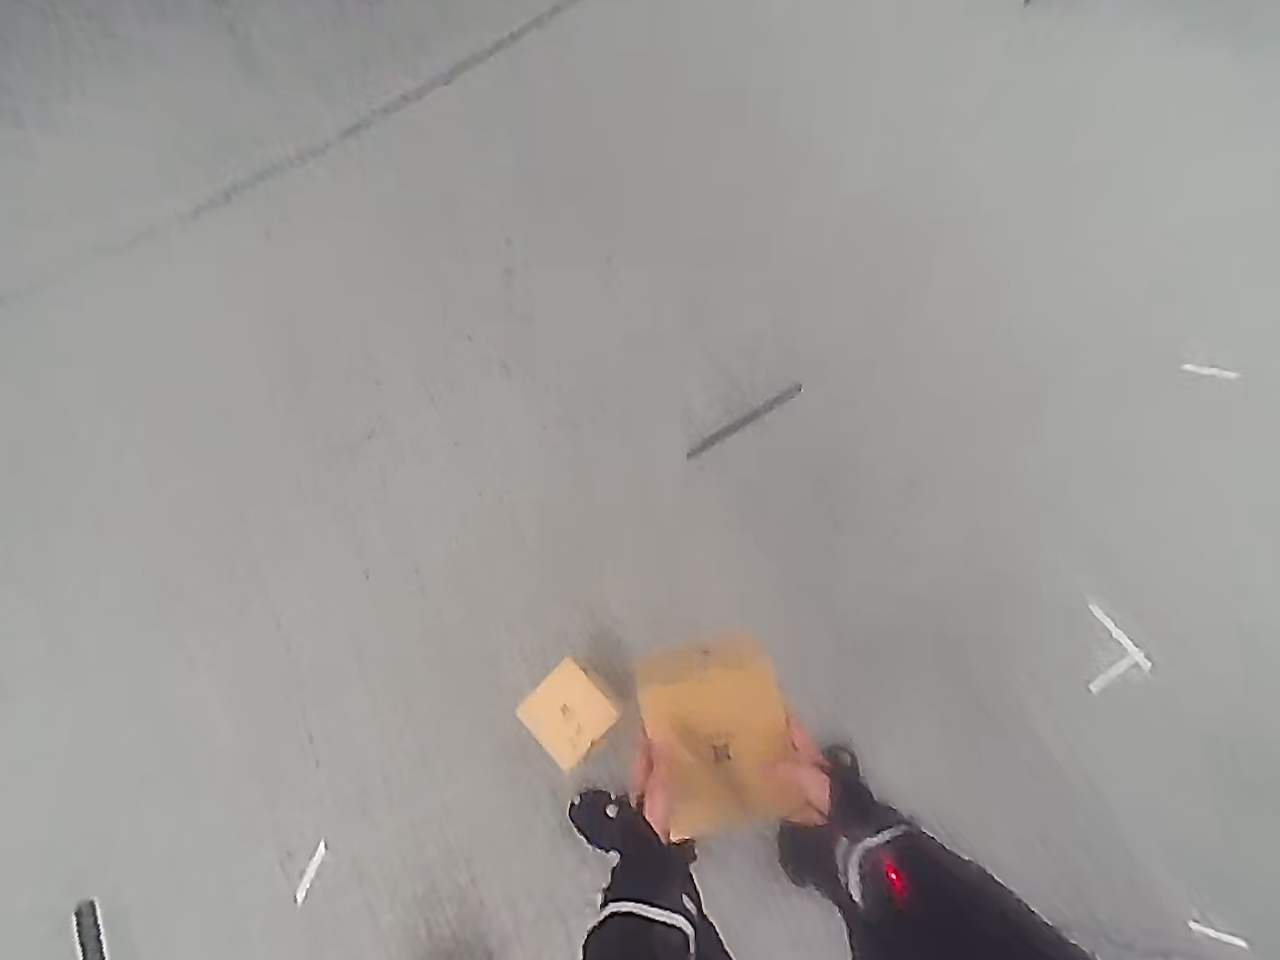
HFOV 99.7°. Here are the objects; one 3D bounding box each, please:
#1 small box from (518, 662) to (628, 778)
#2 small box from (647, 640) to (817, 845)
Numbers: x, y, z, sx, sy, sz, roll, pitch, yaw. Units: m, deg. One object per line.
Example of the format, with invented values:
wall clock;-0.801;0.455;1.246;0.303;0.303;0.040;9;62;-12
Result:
small box;-0.146;0.545;1.248;0.179;0.176;0.168;42;80;16
small box;0.107;0.323;0.701;0.168;0.176;0.179;-13;83;-1
